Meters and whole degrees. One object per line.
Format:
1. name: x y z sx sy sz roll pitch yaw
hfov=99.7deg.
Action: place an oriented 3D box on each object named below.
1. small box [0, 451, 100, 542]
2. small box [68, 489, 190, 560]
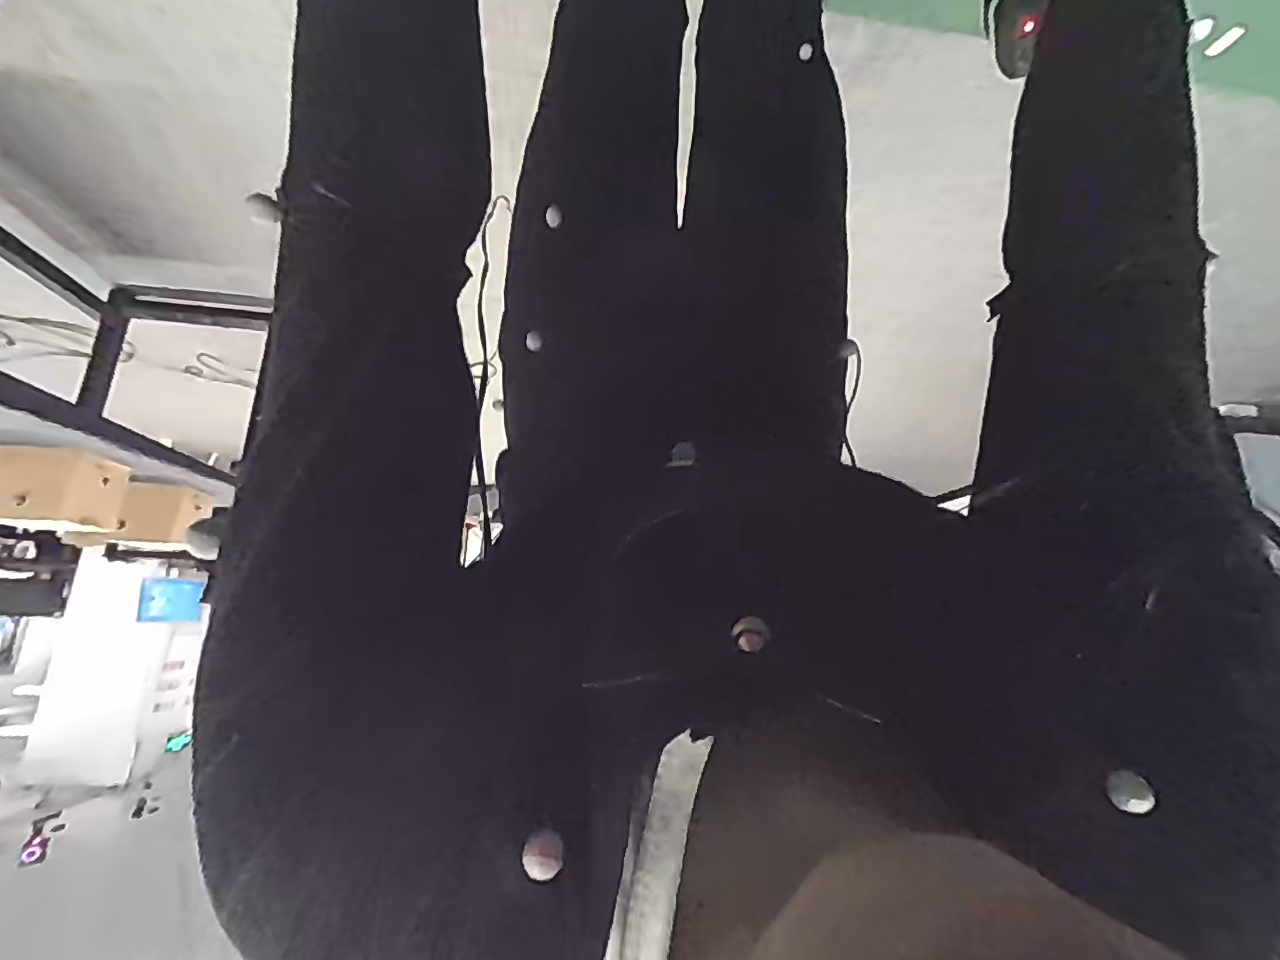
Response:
1. small box: -1.366 0.036 1.194 0.179 0.176 0.168 4 164 -11
2. small box: -1.415 0.124 1.511 0.179 0.176 0.168 5 165 -12
